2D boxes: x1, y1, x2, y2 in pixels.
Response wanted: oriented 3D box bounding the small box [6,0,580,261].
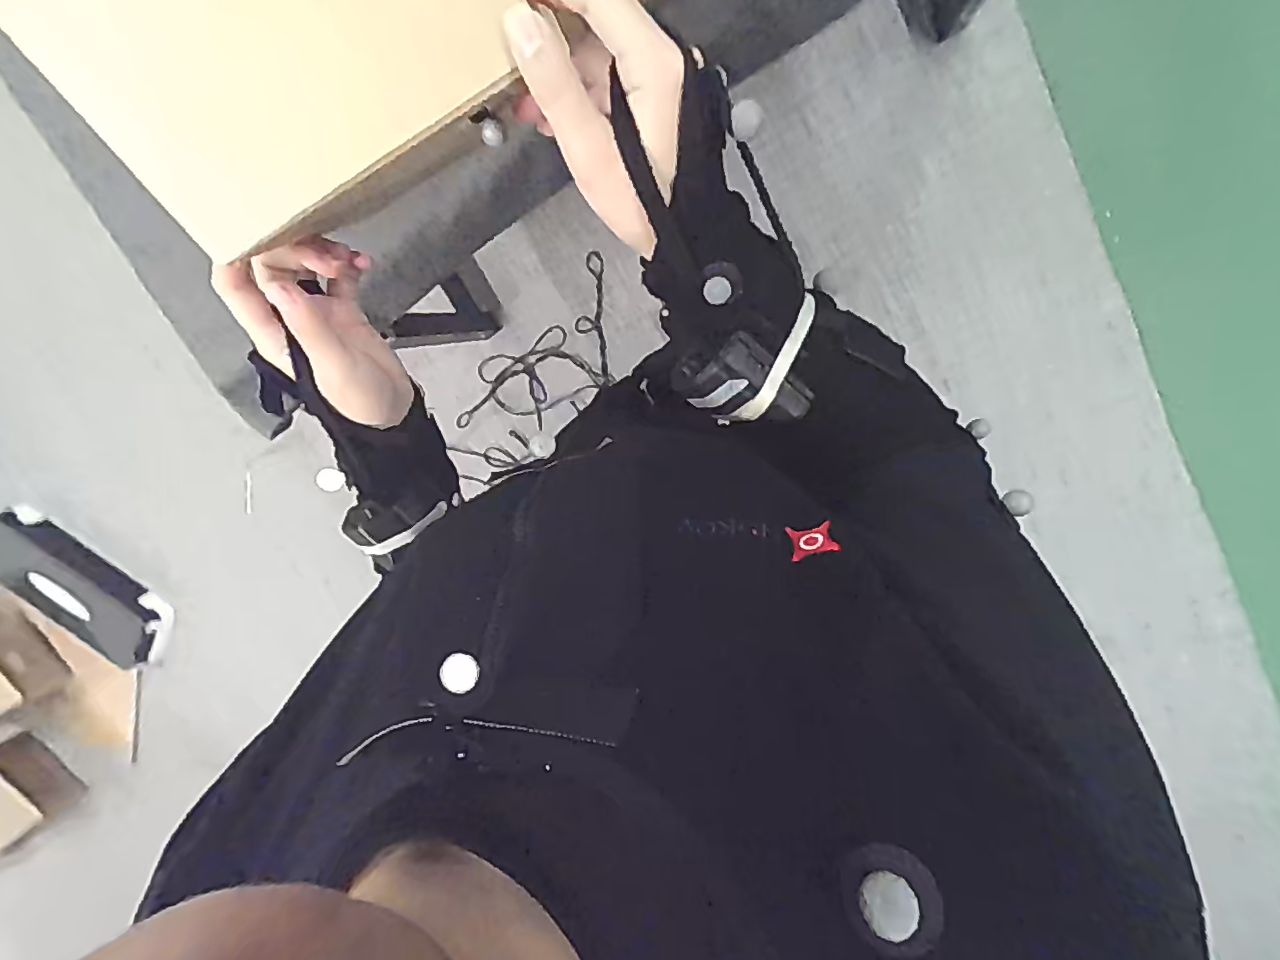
[{"bbox_3d":[-0.142,-0.231,0.251,0.179,0.176,0.168,-24,121,12],"label":"small box"}]
